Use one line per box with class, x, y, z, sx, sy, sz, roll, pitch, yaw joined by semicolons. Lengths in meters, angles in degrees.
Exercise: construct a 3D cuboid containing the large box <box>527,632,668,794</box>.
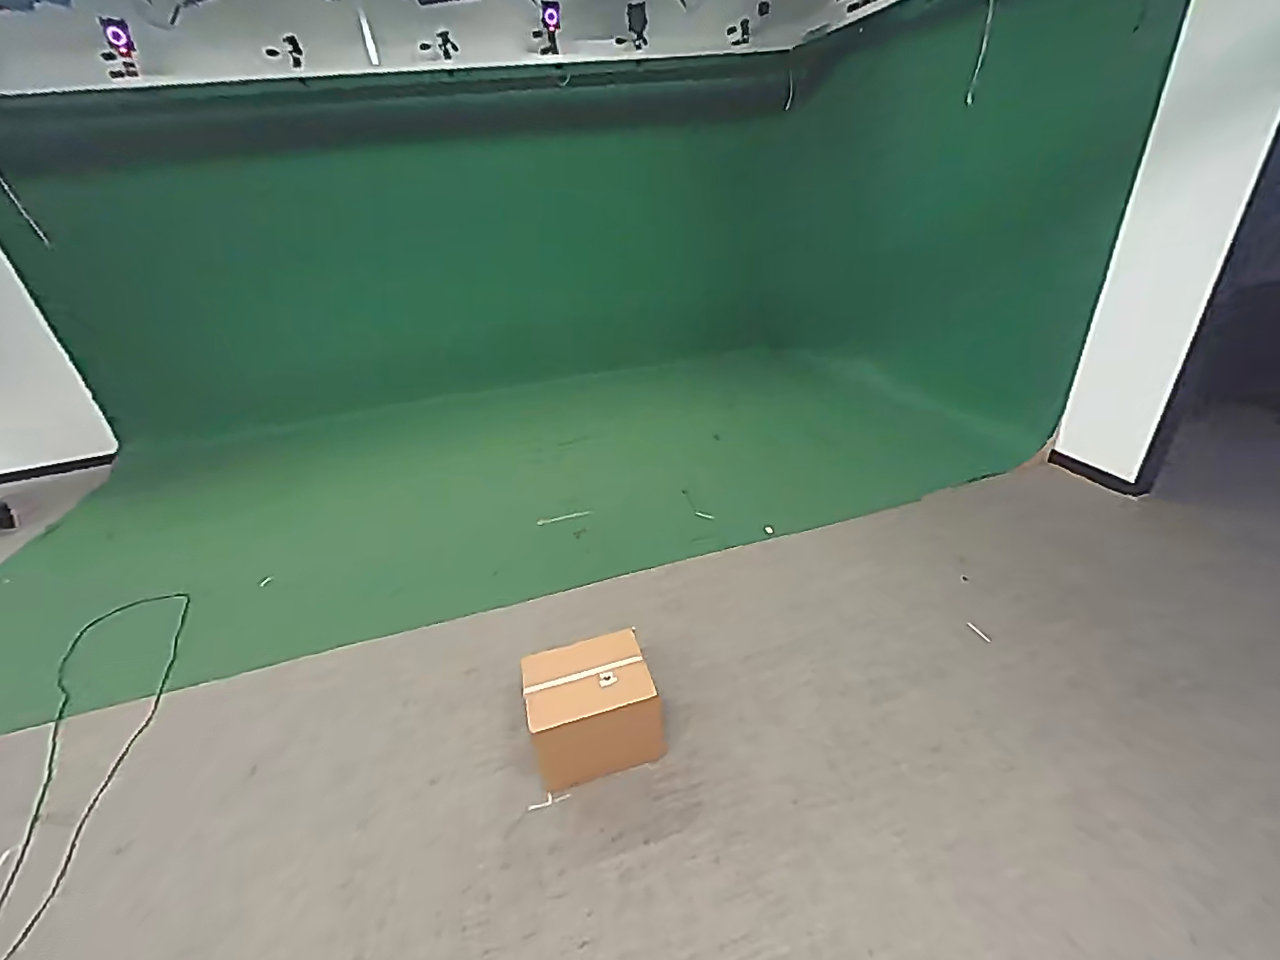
large box;-0.148;0.785;1.845;0.408;0.320;0.320;-12;29;-11
